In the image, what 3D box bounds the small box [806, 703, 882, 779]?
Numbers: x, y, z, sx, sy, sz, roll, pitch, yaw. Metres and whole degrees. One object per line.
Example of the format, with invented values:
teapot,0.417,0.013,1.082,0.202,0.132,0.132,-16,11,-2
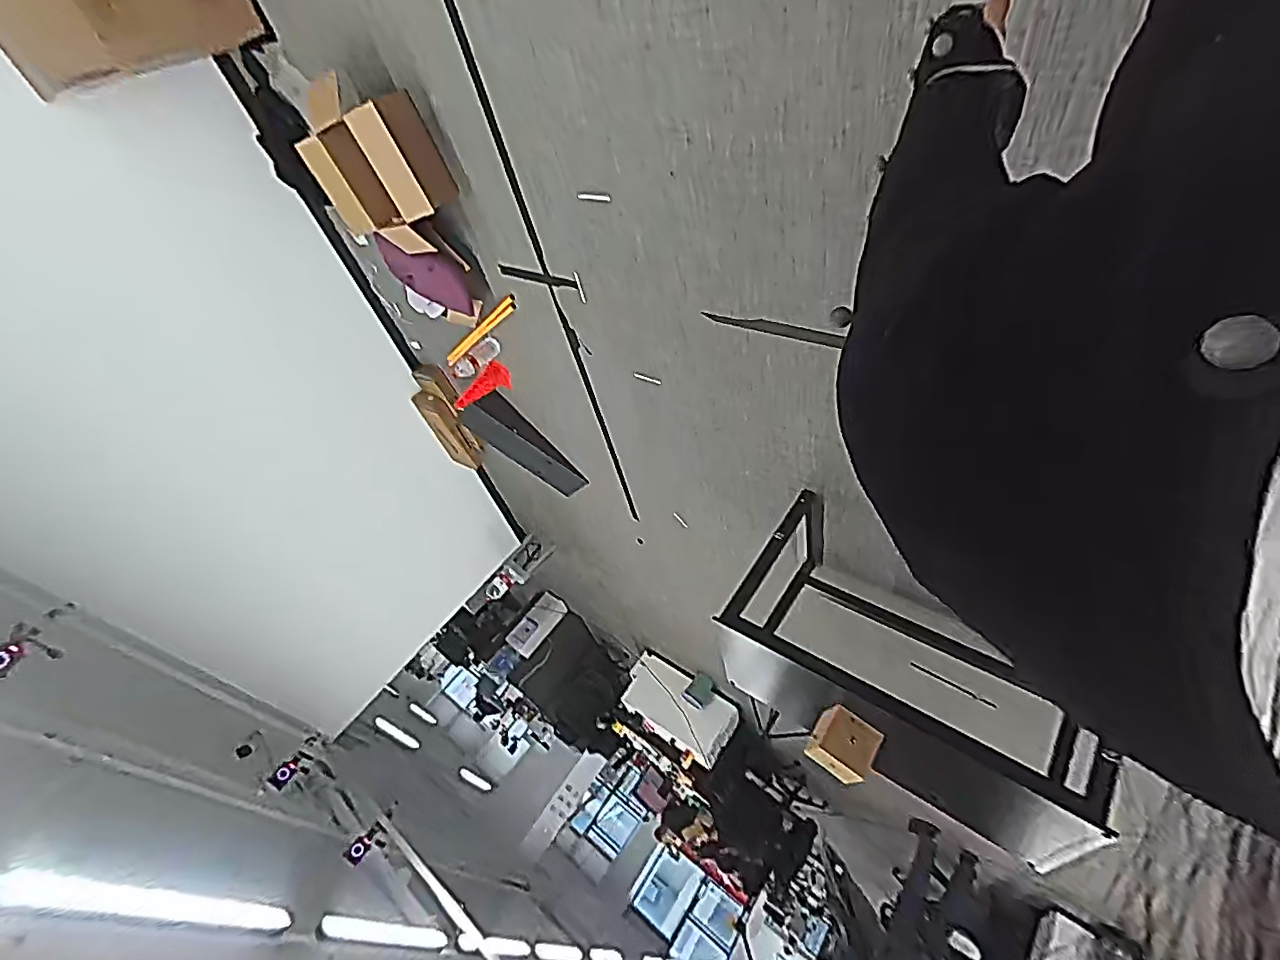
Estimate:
small box,0.705,0.893,1.858,0.168,0.176,0.179,33,153,17
